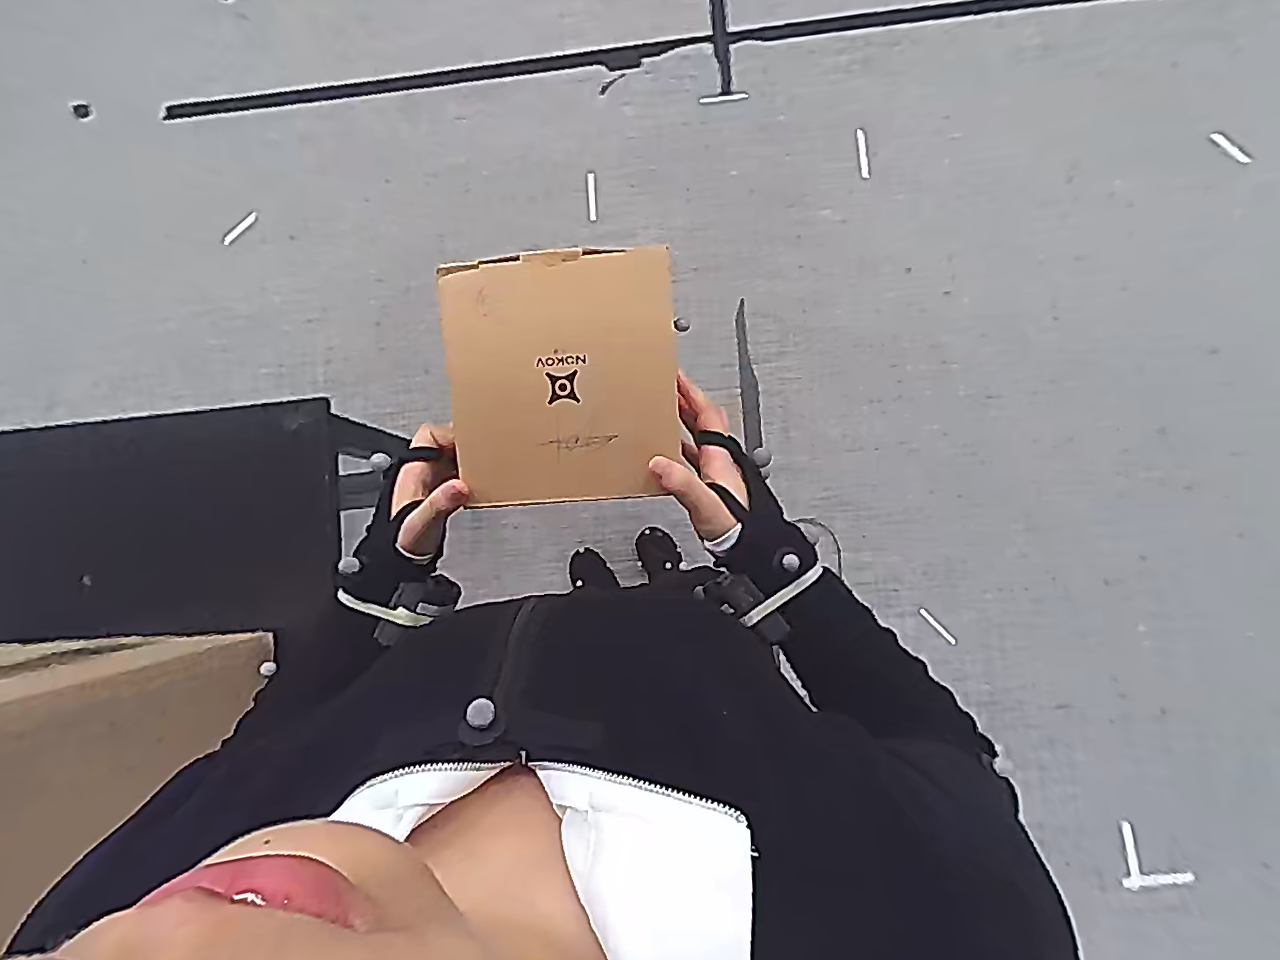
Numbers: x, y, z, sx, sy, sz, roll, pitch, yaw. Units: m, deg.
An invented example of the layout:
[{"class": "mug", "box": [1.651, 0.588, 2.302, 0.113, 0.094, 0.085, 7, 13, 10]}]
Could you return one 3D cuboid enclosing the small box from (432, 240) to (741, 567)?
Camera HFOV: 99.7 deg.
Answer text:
[{"class": "small box", "box": [-0.025, -0.050, 0.382, 0.168, 0.176, 0.179, -4, 99, 3]}]
